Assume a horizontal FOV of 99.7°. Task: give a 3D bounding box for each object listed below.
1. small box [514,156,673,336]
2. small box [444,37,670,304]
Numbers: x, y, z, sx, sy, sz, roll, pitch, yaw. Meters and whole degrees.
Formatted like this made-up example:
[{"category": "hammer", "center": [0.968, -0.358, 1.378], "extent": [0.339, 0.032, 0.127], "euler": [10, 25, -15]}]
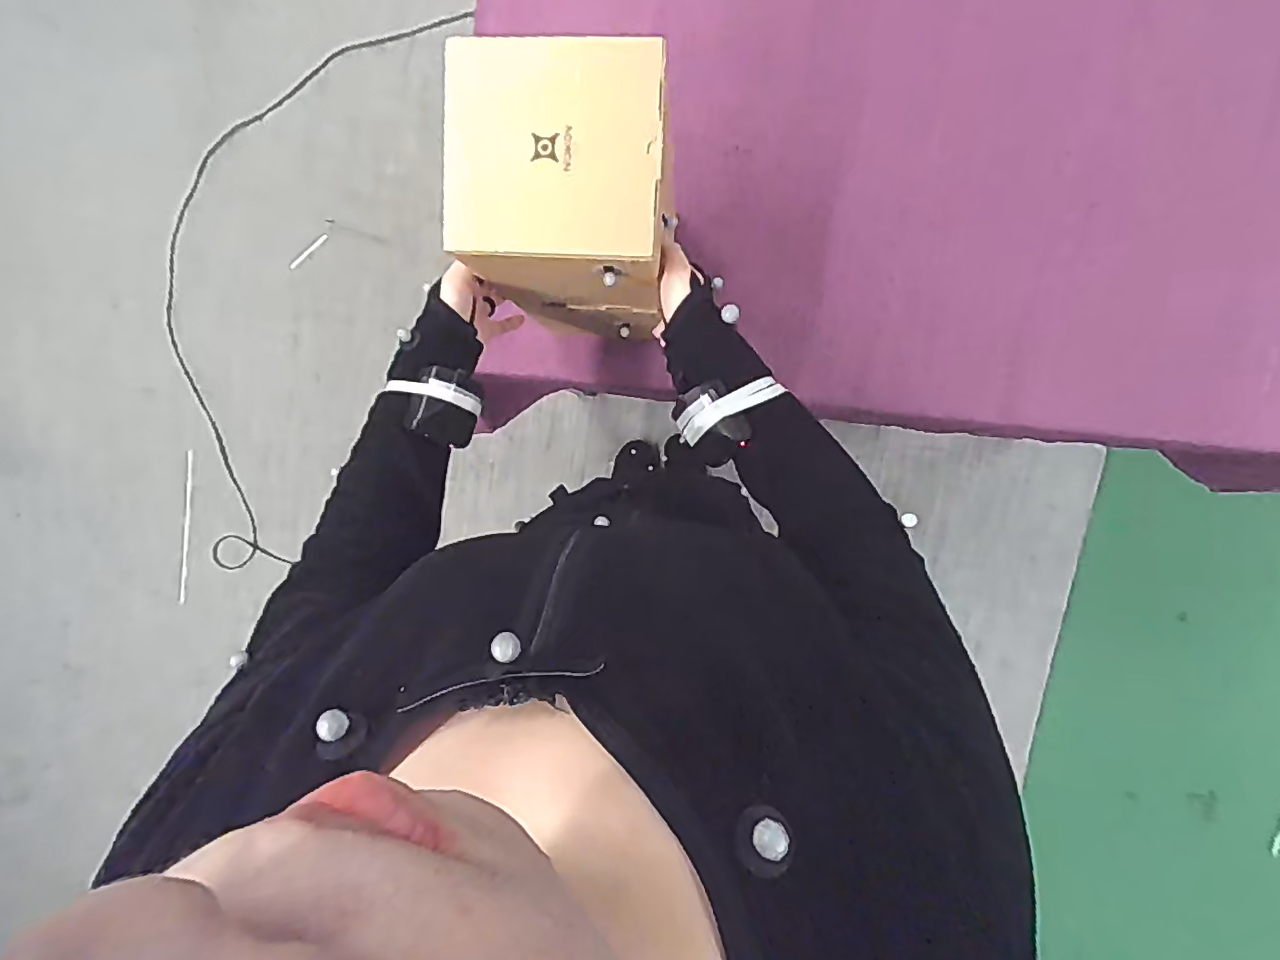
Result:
[{"category": "small box", "center": [-0.048, -0.283, 0.671], "extent": [0.168, 0.176, 0.179], "euler": [5, 95, 3]}, {"category": "small box", "center": [-0.065, -0.270, 0.510], "extent": [0.179, 0.176, 0.168], "euler": [3, 95, 3]}]
